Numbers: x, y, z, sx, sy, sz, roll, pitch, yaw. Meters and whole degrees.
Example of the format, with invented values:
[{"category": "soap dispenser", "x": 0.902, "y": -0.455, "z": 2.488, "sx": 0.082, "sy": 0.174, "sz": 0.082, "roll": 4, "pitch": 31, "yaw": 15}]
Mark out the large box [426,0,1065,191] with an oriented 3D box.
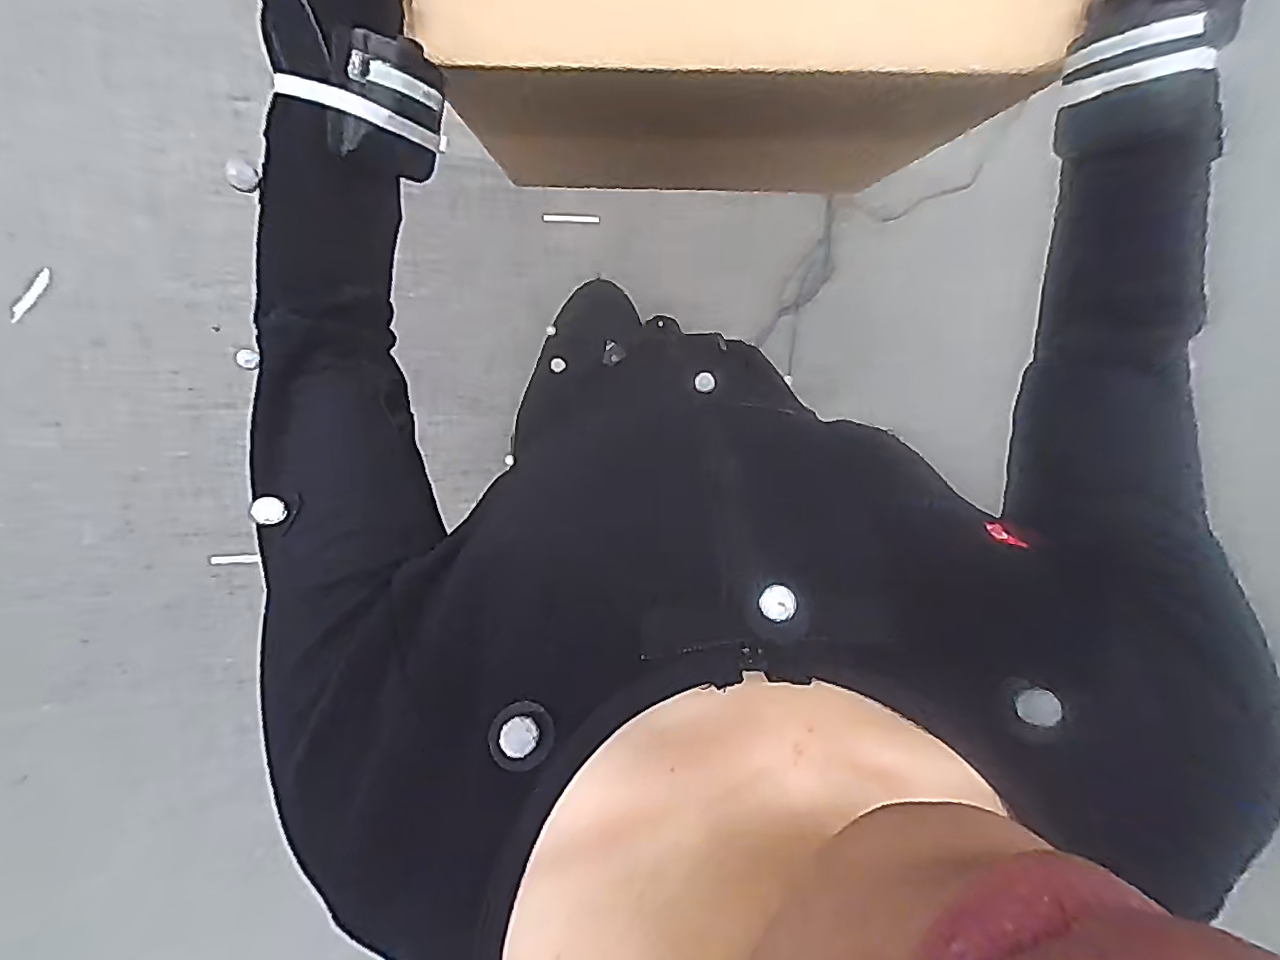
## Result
[{"category": "large box", "x": 0.059, "y": -0.448, "z": 0.445, "sx": 0.408, "sy": 0.320, "sz": 0.320, "roll": -1, "pitch": 106, "yaw": -2}]
